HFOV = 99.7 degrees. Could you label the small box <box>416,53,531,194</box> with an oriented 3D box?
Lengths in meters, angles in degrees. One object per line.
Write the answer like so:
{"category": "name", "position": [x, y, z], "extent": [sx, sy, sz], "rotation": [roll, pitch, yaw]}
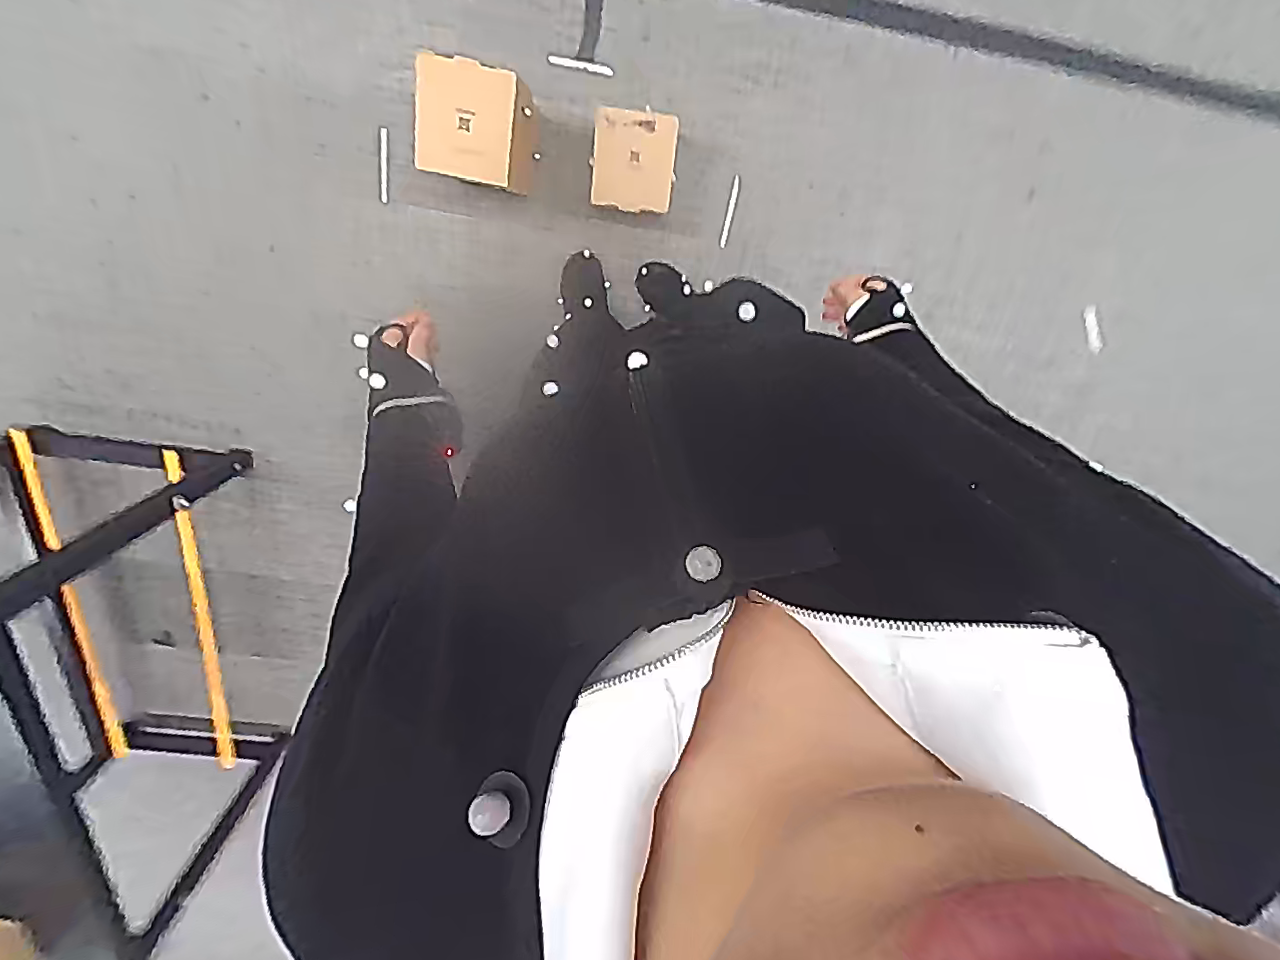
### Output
{"category": "small box", "position": [-0.303, -0.648, 1.004], "extent": [0.168, 0.176, 0.179], "rotation": [10, 115, -5]}

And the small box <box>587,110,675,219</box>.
{"category": "small box", "position": [-0.022, -0.679, 1.181], "extent": [0.168, 0.176, 0.179], "rotation": [6, 115, -5]}

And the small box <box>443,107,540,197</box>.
{"category": "small box", "position": [-0.316, -0.713, 1.153], "extent": [0.179, 0.176, 0.168], "rotation": [11, 114, -6]}

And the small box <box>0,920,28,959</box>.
{"category": "small box", "position": [-1.468, 1.061, 1.136], "extent": [0.168, 0.176, 0.179], "rotation": [7, 113, -5]}
